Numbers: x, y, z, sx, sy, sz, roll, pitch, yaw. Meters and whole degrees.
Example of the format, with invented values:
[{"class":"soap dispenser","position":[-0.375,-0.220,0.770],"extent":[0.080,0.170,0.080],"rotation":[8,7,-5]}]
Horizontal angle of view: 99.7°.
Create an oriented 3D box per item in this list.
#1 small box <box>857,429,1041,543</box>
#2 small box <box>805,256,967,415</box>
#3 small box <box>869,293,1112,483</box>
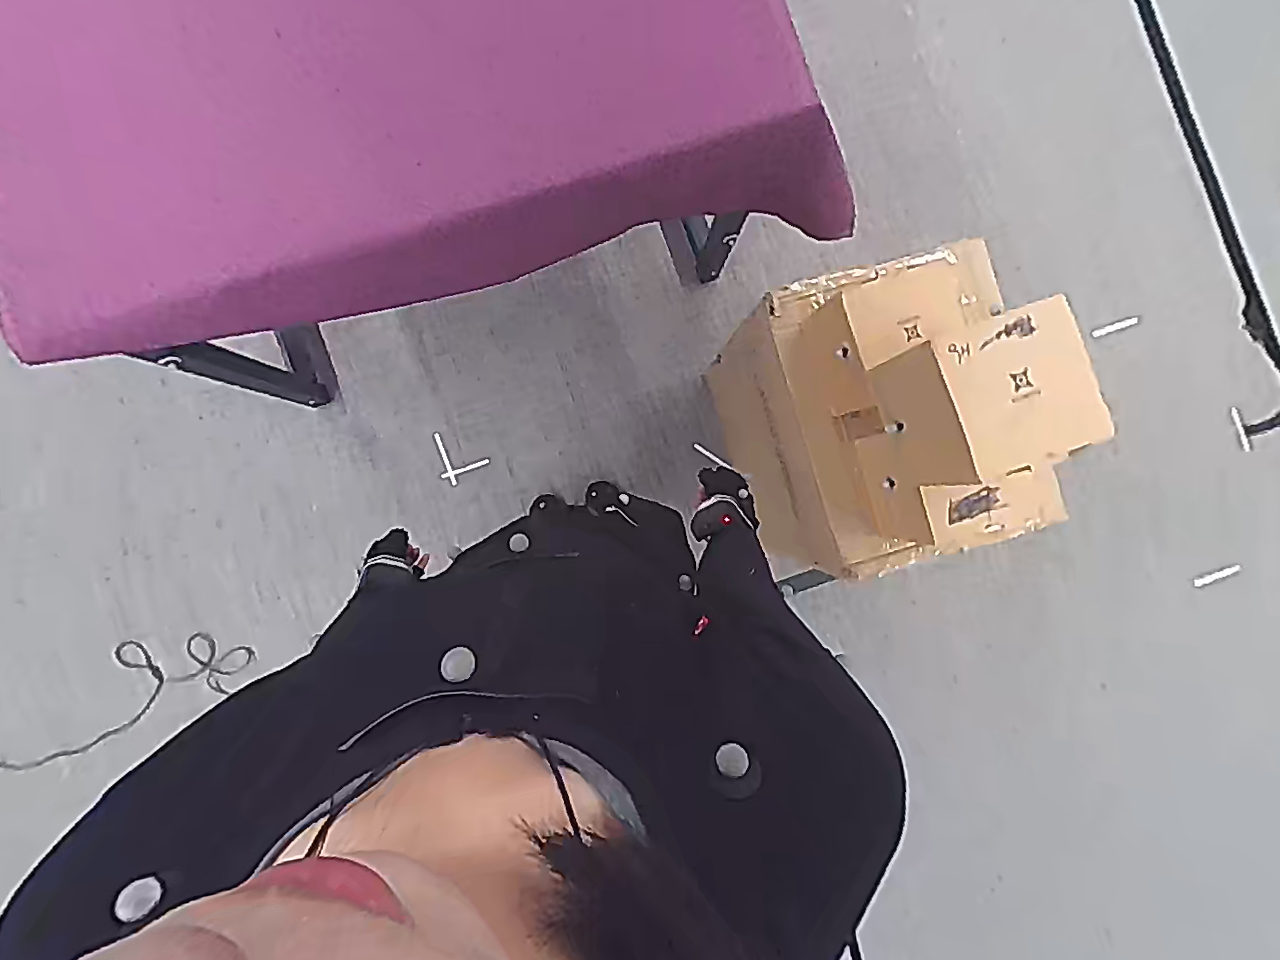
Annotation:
[{"class":"small box","position":[0.468,-0.010,0.845],"extent":[0.168,0.176,0.179],"rotation":[-15,87,-2]},{"class":"small box","position":[0.381,-0.215,0.848],"extent":[0.168,0.176,0.179],"rotation":[-18,91,-2]},{"class":"small box","position":[0.423,-0.103,0.683],"extent":[0.168,0.176,0.179],"rotation":[-19,89,-2]}]
